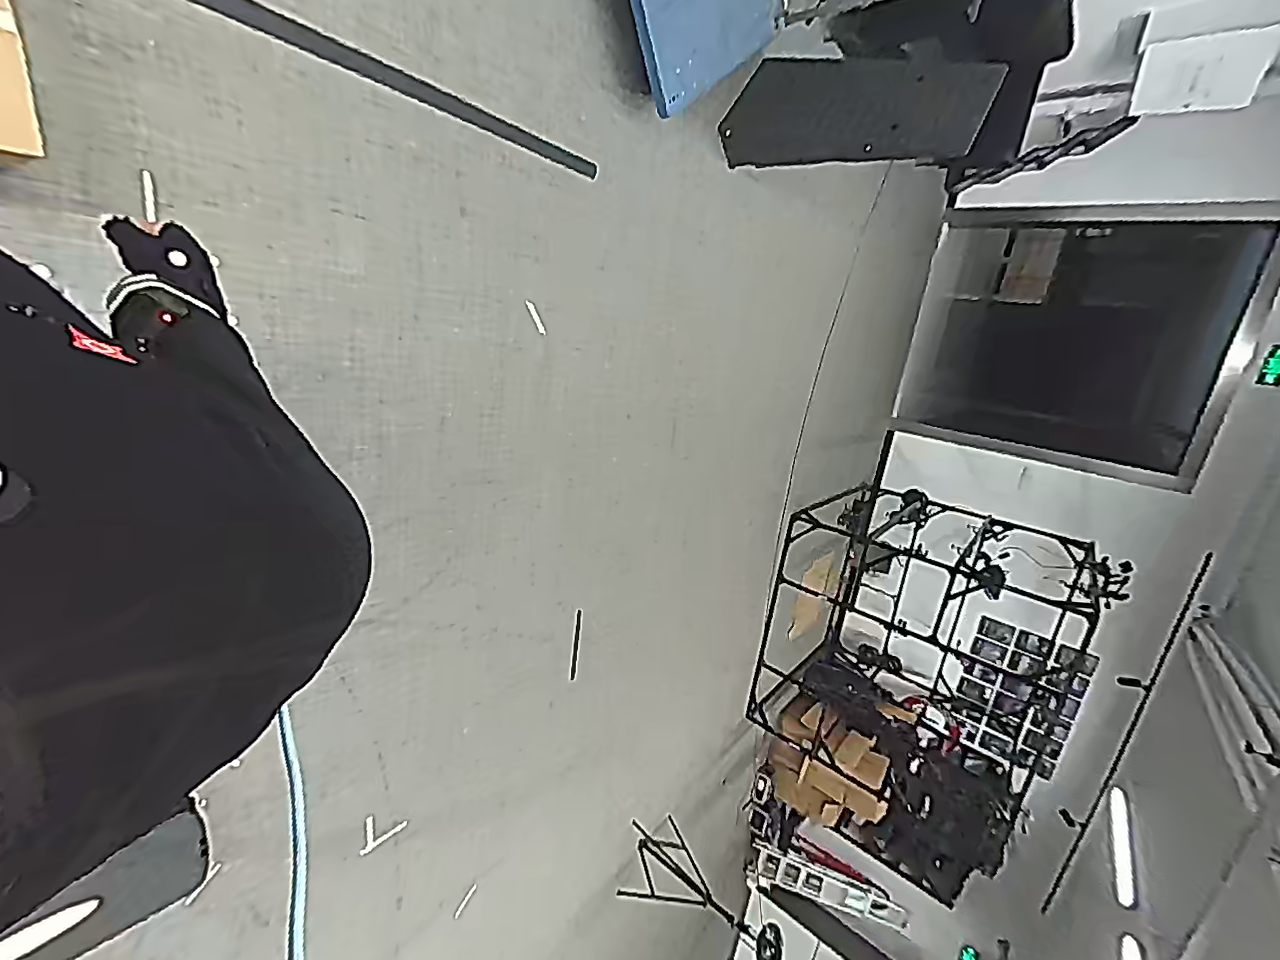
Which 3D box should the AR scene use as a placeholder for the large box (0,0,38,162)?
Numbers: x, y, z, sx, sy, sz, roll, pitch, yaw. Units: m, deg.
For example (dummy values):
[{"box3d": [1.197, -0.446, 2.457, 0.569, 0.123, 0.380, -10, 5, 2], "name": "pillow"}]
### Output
[{"box3d": [-1.073, -0.608, 0.644, 0.408, 0.320, 0.320, -18, 120, -51], "name": "large box"}]
